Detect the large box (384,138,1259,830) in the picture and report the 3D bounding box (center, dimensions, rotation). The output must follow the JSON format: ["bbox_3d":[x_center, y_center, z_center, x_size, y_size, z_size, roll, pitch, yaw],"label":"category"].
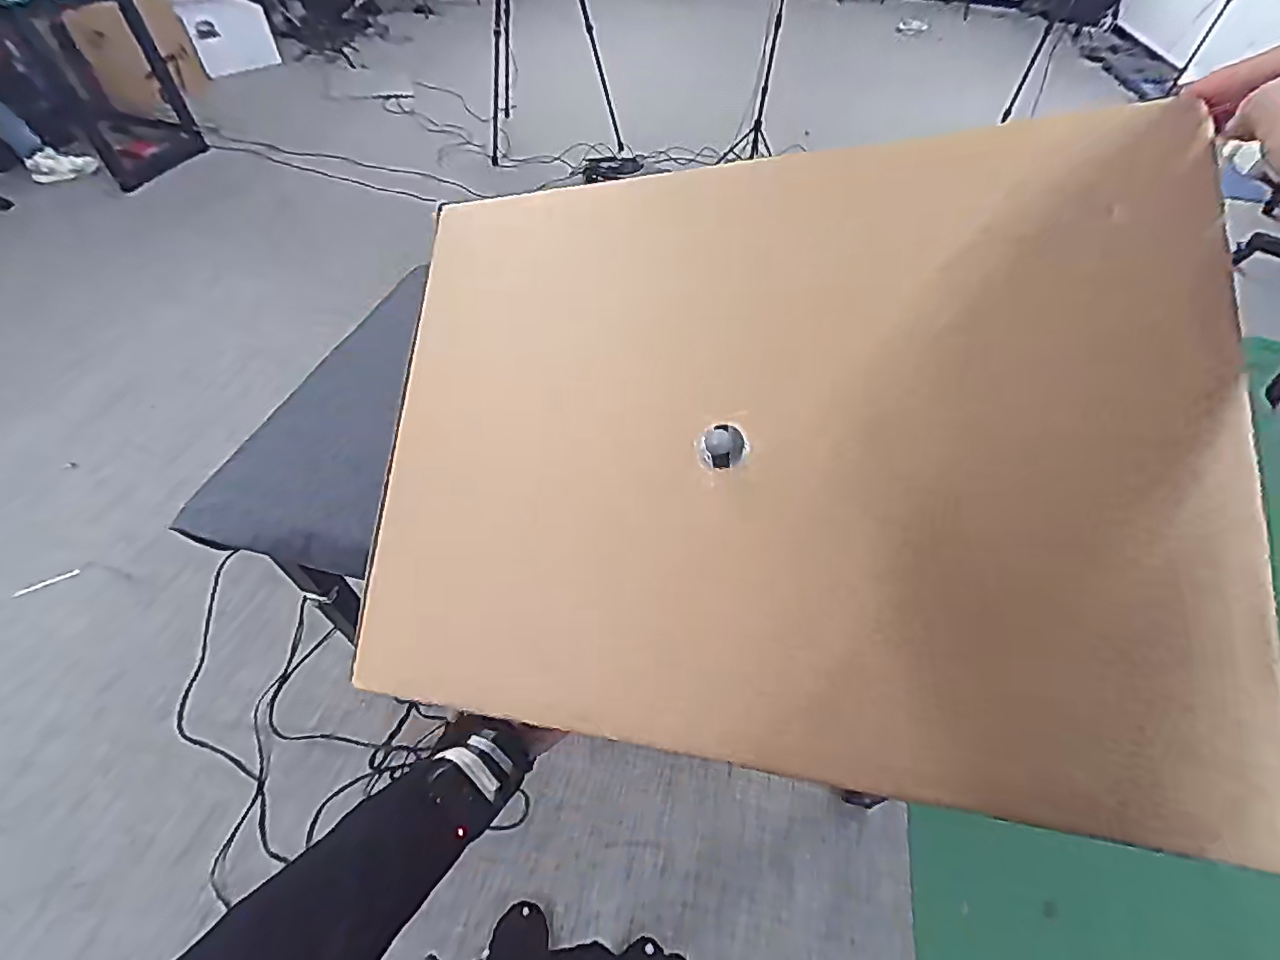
[{"bbox_3d":[0.091,0.014,0.418,0.408,0.320,0.320,1,78,17],"label":"large box"}]
